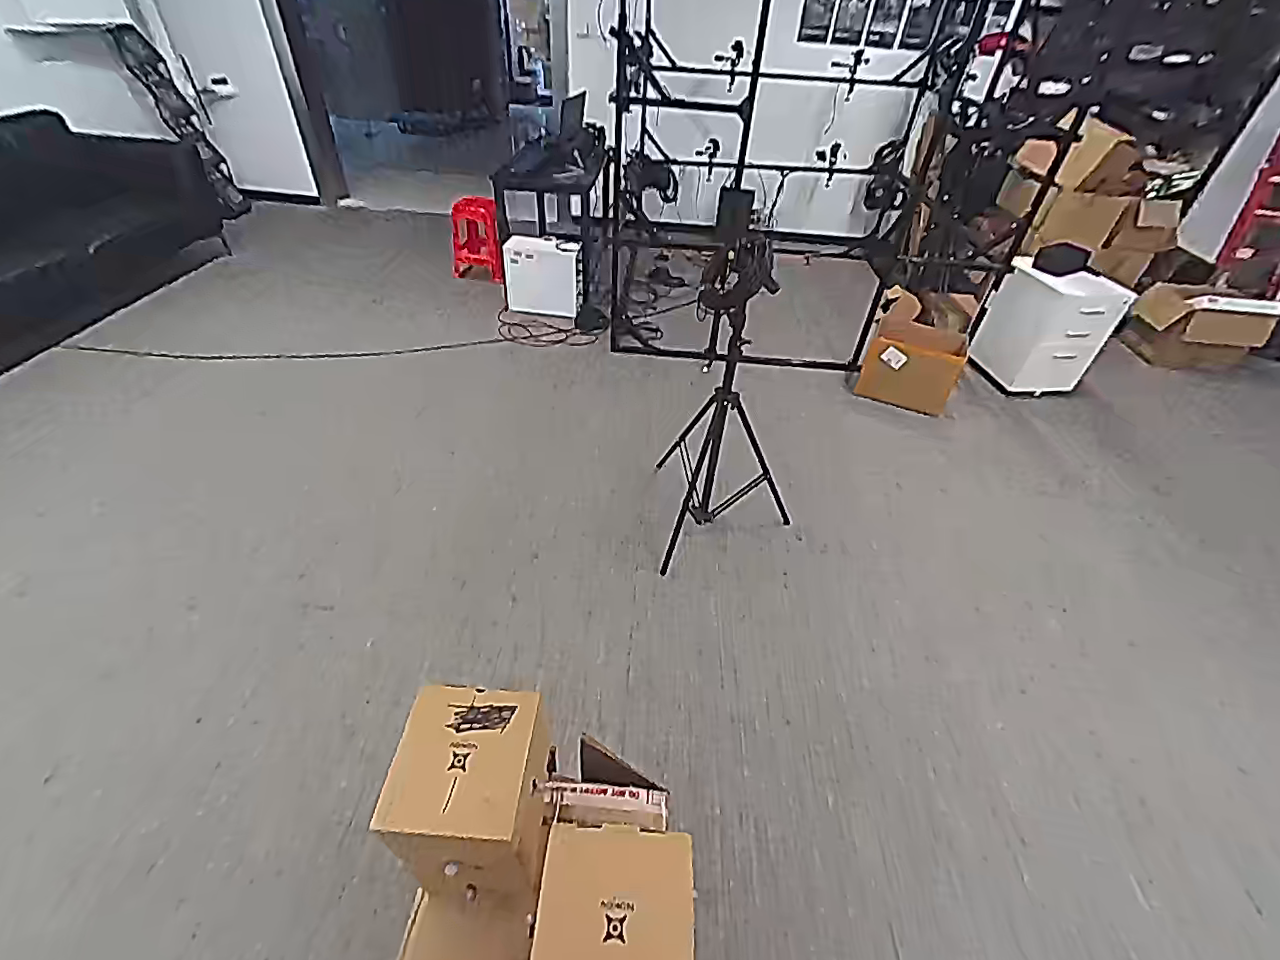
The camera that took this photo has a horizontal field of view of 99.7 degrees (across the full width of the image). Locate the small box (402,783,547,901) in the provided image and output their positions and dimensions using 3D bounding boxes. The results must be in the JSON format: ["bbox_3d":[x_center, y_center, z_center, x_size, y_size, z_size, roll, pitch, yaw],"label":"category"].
[{"bbox_3d":[-0.239,0.522,0.835,0.168,0.176,0.179,1,43,-1],"label":"small box"}]

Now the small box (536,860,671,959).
[{"bbox_3d":[-0.049,0.638,0.722,0.168,0.176,0.179,5,42,0],"label":"small box"}]

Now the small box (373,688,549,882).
[{"bbox_3d":[-0.219,0.404,0.721,0.168,0.176,0.179,3,43,2],"label":"small box"}]
